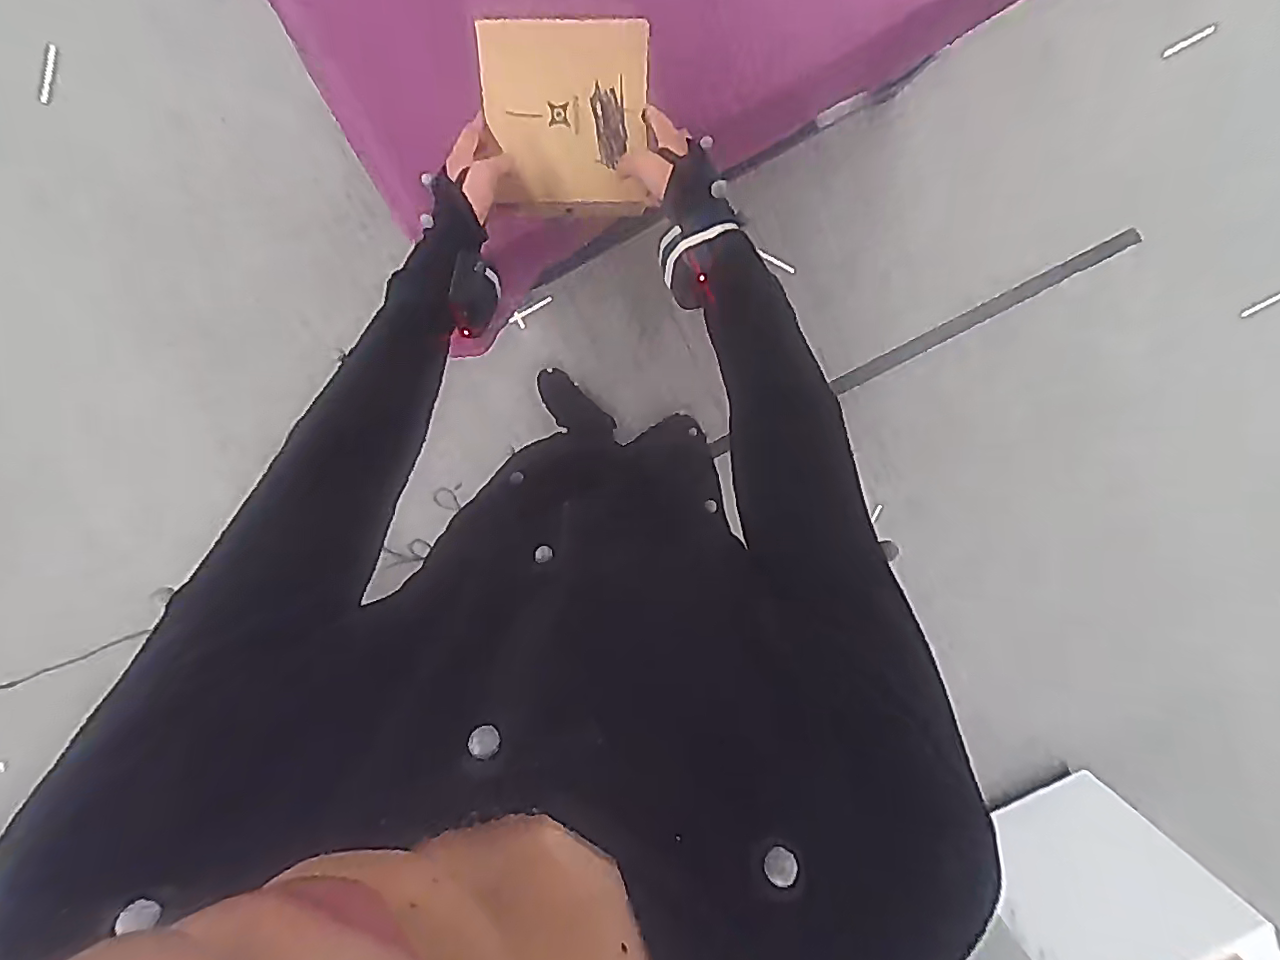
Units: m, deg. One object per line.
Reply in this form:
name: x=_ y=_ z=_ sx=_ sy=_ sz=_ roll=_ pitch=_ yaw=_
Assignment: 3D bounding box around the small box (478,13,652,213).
small box: x=-0.079 y=-0.418 z=0.643 sx=0.179 sy=0.176 sz=0.168 roll=-1 pitch=112 yaw=-2
